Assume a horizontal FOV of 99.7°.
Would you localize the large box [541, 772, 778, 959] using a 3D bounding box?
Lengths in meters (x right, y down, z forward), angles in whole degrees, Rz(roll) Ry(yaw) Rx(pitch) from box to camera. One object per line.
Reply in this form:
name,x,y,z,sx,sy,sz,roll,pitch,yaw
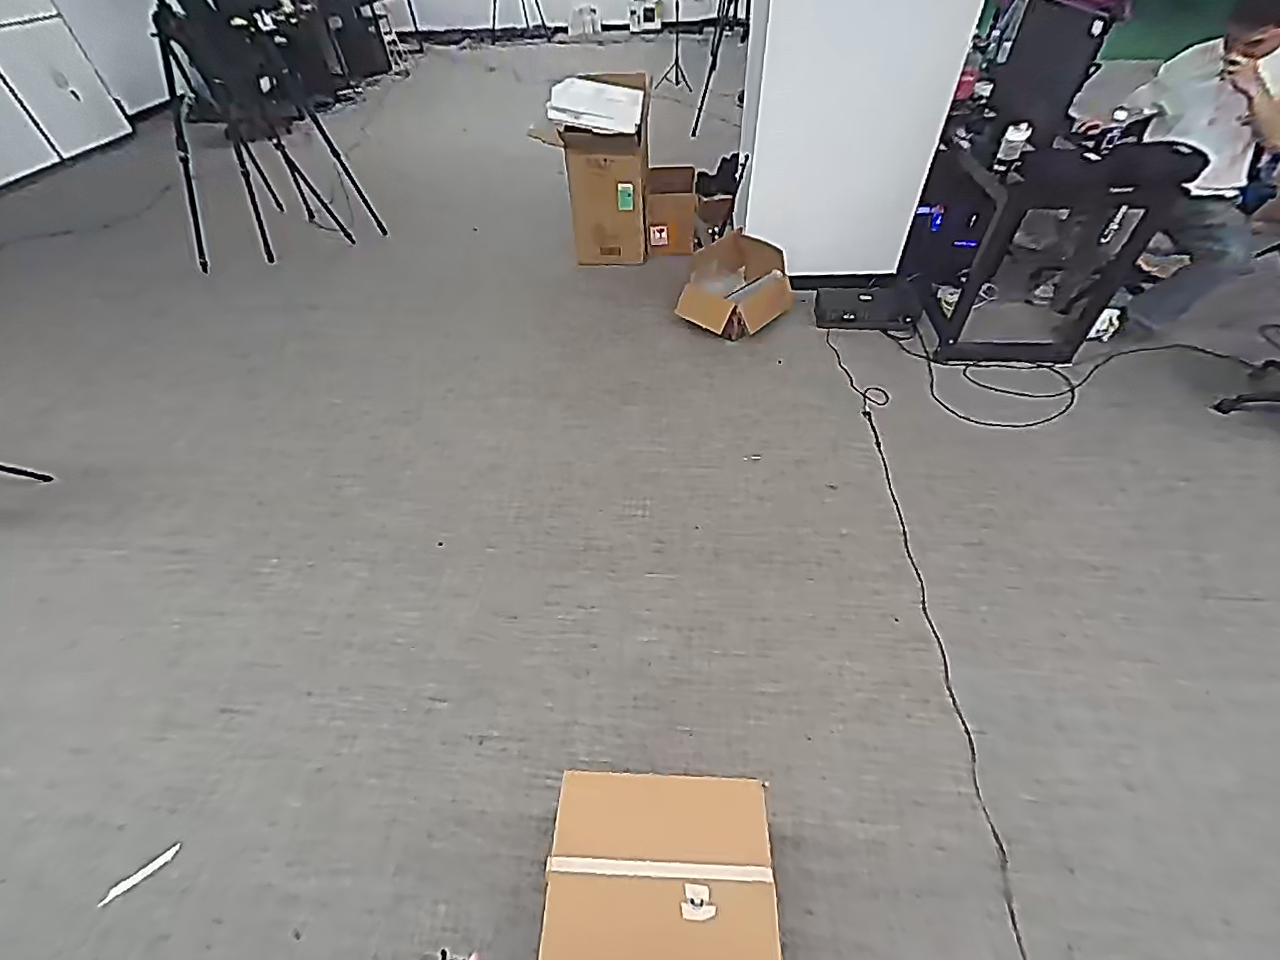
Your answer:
large box,0.037,0.812,1.095,0.408,0.320,0.320,1,47,3
